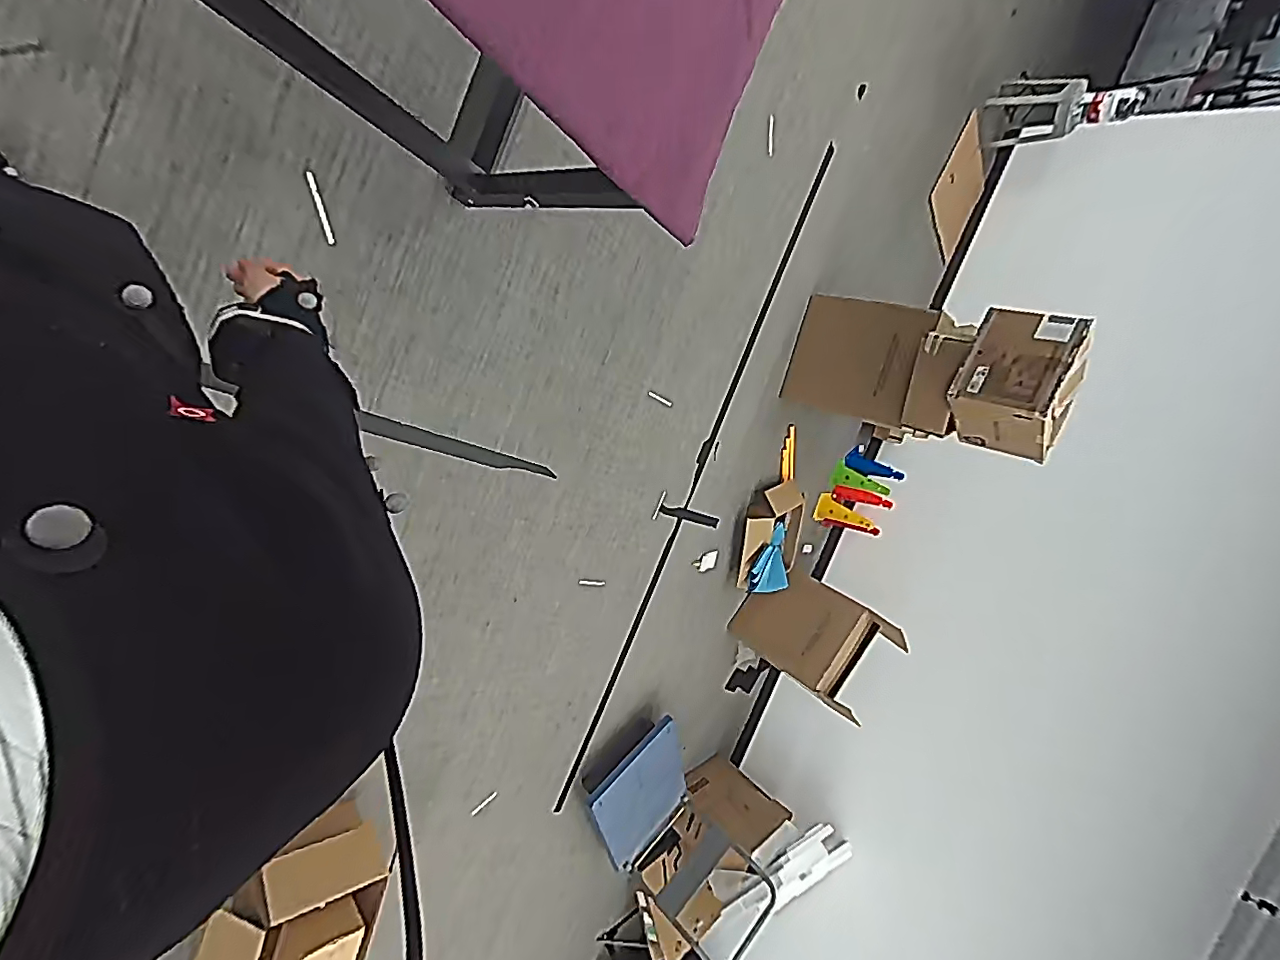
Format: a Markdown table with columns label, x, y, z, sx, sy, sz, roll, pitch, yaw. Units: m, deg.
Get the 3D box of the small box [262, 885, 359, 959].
| label | x | y | z | sx | sy | sz | roll | pitch | yaw |
| --- | --- | --- | --- | --- | --- | --- | --- | --- | --- |
| small box | -0.909 | 1.277 | 1.484 | 0.168 | 0.176 | 0.179 | 13 | 99 | -51 |
